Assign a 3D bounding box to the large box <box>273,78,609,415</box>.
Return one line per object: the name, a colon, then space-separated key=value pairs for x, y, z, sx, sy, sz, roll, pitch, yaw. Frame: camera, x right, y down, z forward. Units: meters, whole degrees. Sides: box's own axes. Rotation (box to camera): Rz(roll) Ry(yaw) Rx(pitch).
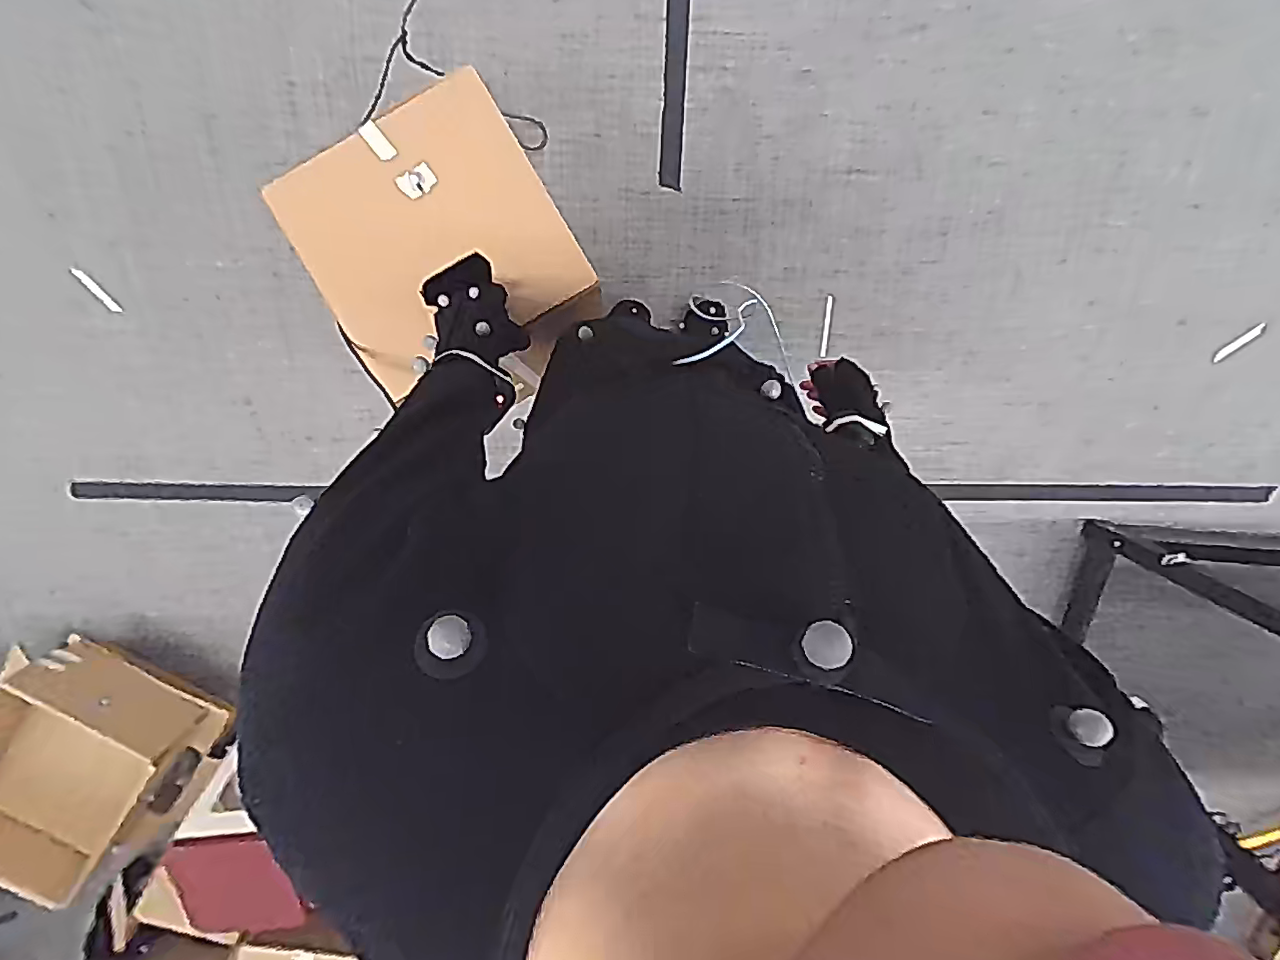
large box: x=-0.269 y=-0.324 z=0.886 sx=0.320 sy=0.408 sz=0.320 roll=-30 pitch=93 yaw=2
